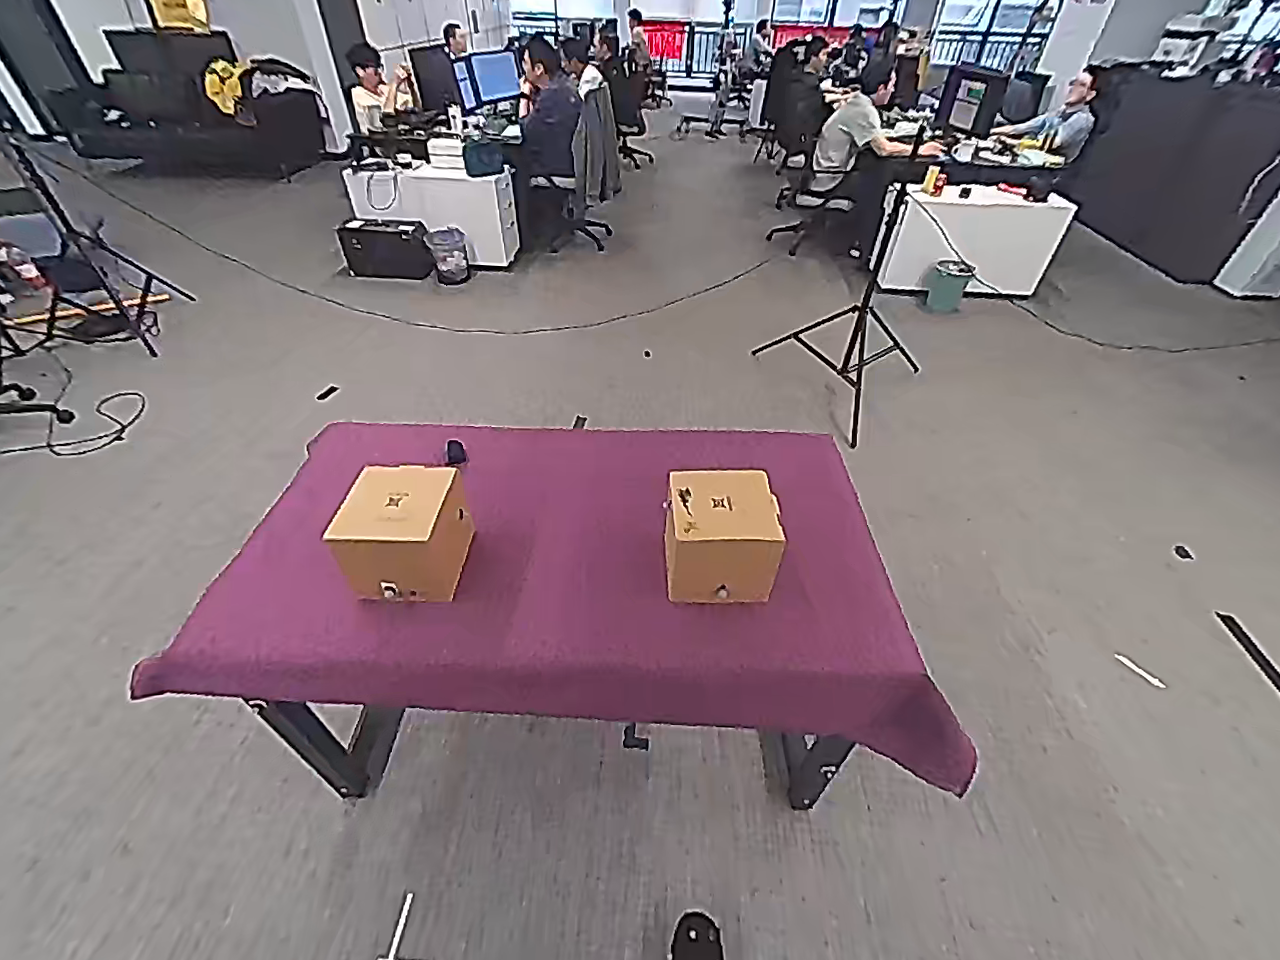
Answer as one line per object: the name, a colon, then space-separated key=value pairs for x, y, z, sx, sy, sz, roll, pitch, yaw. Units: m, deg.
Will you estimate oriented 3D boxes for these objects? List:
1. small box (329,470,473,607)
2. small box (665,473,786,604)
small box: x=-0.402 y=0.101 z=0.950 sx=0.168 sy=0.176 sz=0.179 roll=0 pitch=42 yaw=0
small box: x=0.140 y=0.105 z=0.958 sx=0.179 sy=0.176 sz=0.168 roll=0 pitch=41 yaw=-2
